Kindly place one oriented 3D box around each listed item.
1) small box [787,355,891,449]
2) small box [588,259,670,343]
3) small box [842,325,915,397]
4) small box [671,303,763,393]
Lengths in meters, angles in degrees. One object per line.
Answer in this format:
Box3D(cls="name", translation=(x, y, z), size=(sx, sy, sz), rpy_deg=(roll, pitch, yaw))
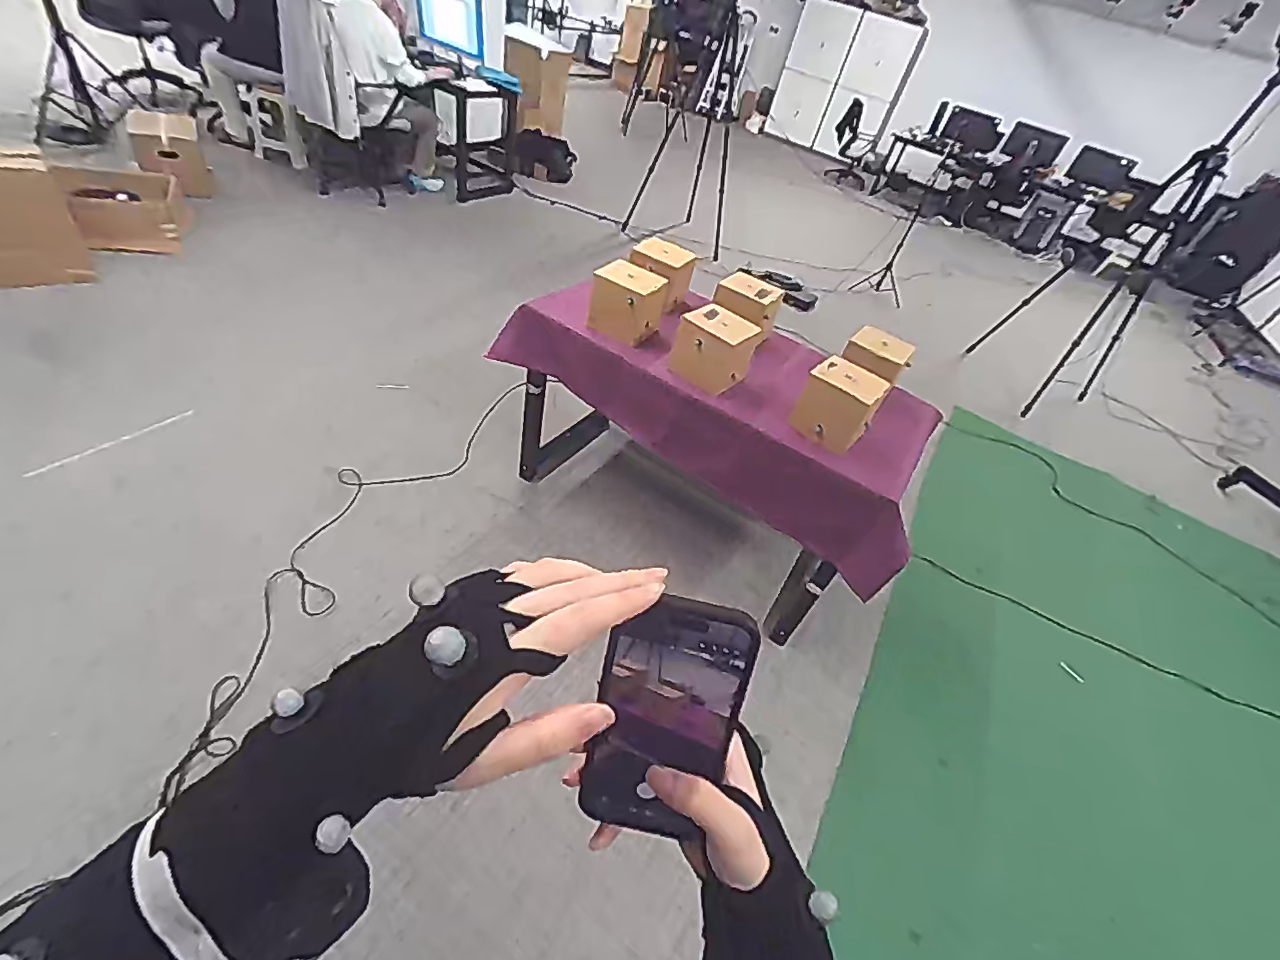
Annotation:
Box3D(cls="small box", translation=(0.532, -0.204, 1.459), size=(0.179, 0.176, 0.168), rpy_deg=(37, 45, 21))
Box3D(cls="small box", translation=(-0.038, -0.538, 1.632), size=(0.179, 0.176, 0.168), rpy_deg=(28, 43, 11))
Box3D(cls="small box", translation=(0.712, -0.349, 1.671), size=(0.168, 0.176, 0.179), rpy_deg=(34, 45, 19))
Box3D(cls="small box", translation=(0.212, -0.373, 1.536), size=(0.179, 0.176, 0.168), rpy_deg=(37, 45, 20))
